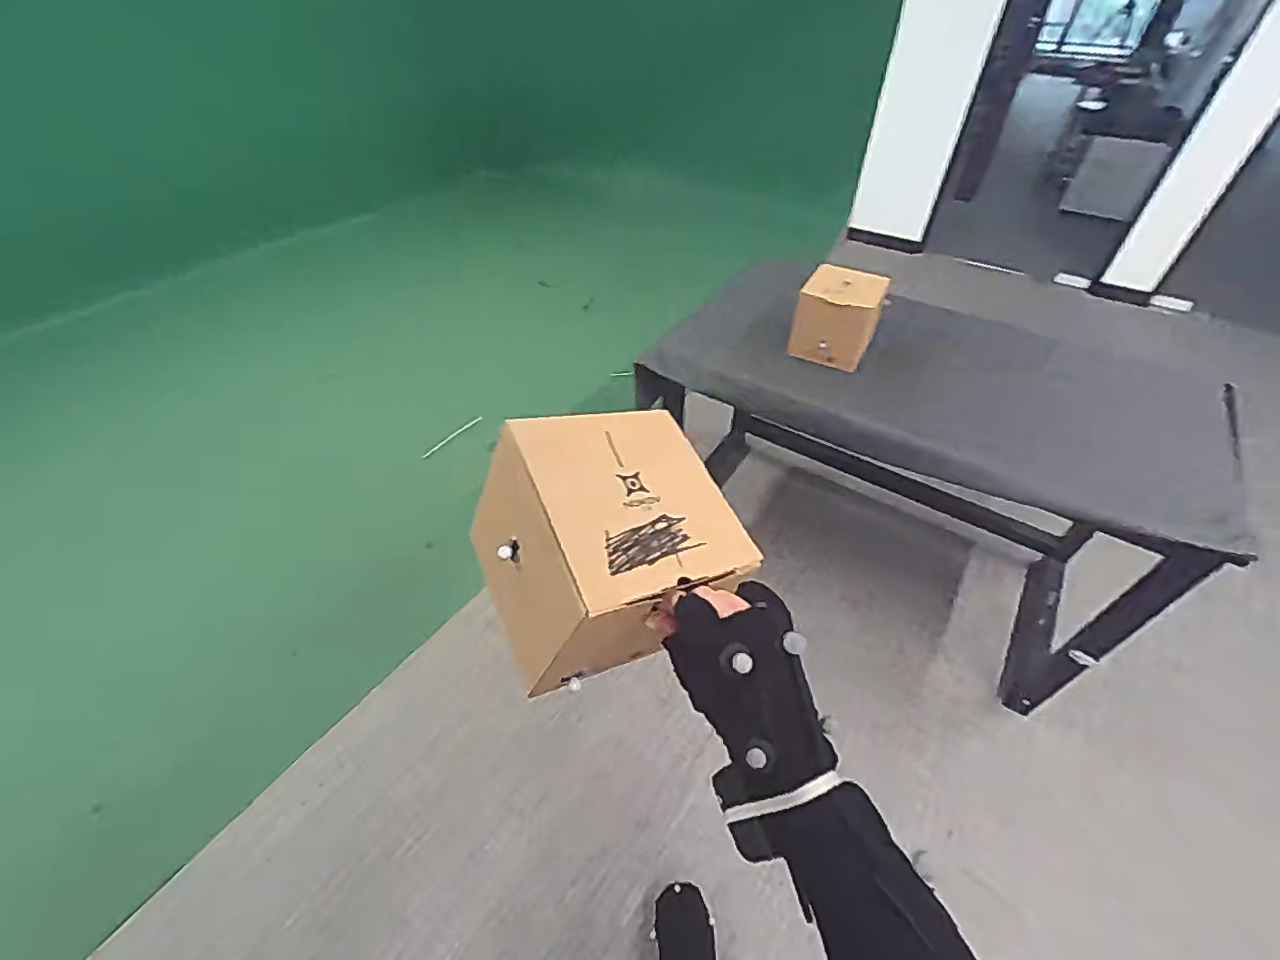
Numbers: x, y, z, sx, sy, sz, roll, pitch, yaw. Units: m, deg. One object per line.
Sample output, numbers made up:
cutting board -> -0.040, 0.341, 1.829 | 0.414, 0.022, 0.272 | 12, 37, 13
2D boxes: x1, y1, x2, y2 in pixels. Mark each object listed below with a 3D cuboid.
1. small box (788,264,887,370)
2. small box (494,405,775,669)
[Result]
small box -> 0.476, -0.397, 1.317 | 0.168, 0.176, 0.179 | 22, 50, 21
small box -> -0.019, 0.053, 0.492 | 0.168, 0.176, 0.179 | -7, 55, -34
